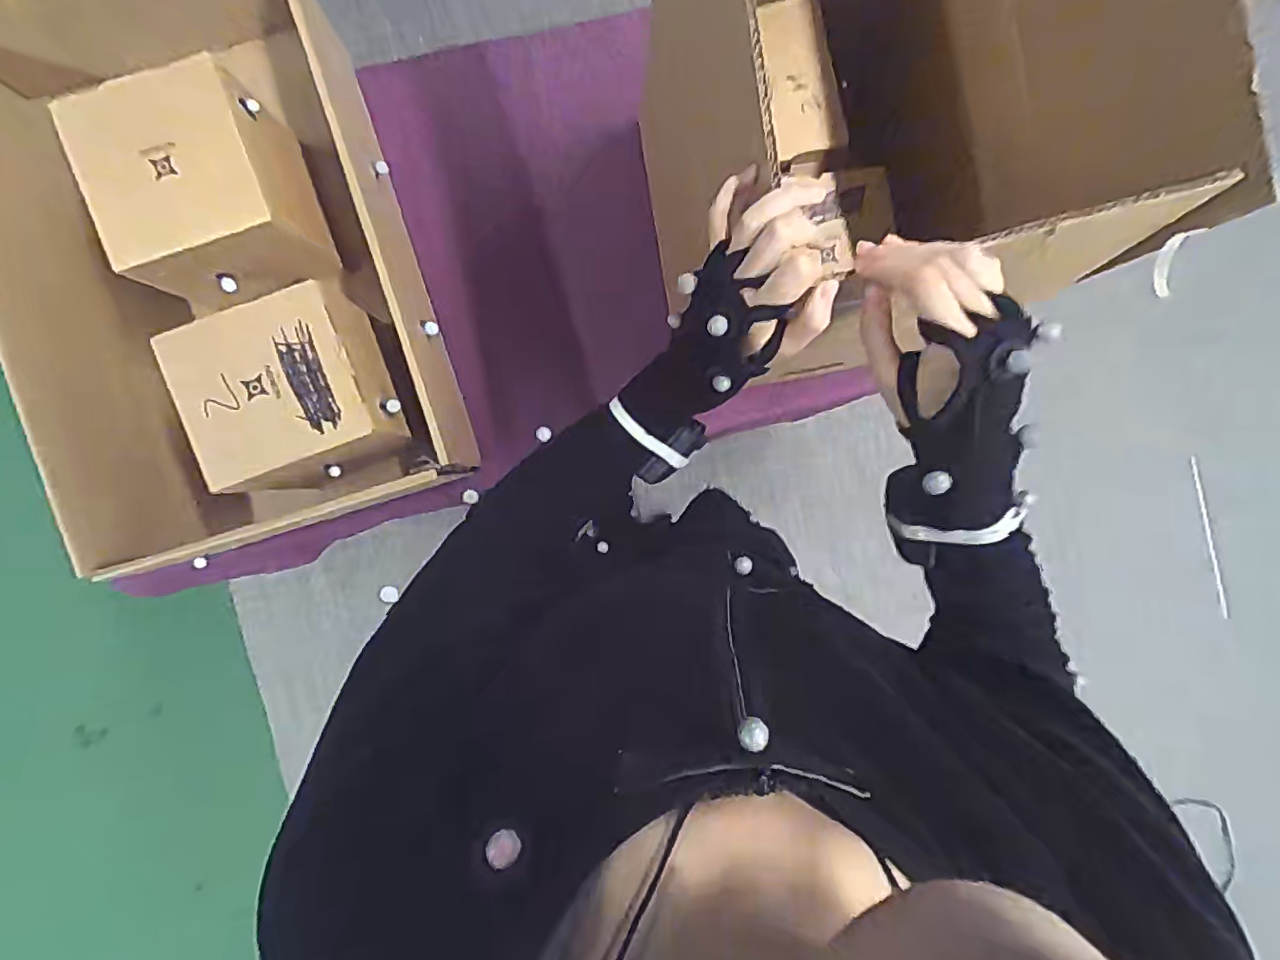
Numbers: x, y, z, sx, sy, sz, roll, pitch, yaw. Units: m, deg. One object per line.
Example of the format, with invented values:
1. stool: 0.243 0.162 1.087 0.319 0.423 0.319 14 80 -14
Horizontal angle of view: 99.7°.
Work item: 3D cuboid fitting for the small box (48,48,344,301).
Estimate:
1. small box: -0.475 -0.319 0.611 0.168 0.176 0.179 -20 92 -1
